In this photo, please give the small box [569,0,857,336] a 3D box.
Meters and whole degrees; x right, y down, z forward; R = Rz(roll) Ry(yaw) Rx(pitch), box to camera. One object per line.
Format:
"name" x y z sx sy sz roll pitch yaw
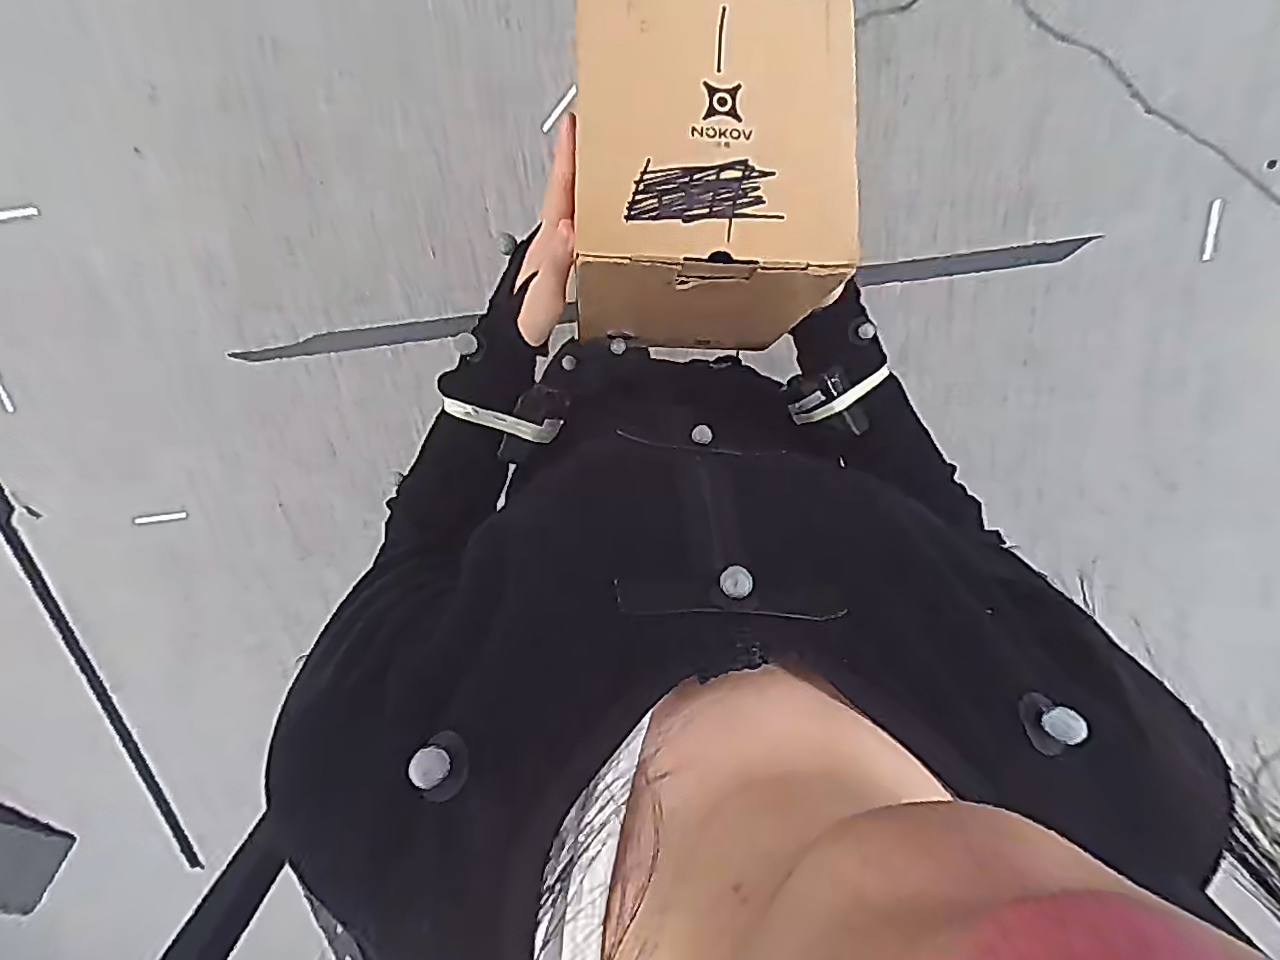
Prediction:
"small box" 0.037 -0.212 0.388 0.168 0.176 0.179 1 87 -6
